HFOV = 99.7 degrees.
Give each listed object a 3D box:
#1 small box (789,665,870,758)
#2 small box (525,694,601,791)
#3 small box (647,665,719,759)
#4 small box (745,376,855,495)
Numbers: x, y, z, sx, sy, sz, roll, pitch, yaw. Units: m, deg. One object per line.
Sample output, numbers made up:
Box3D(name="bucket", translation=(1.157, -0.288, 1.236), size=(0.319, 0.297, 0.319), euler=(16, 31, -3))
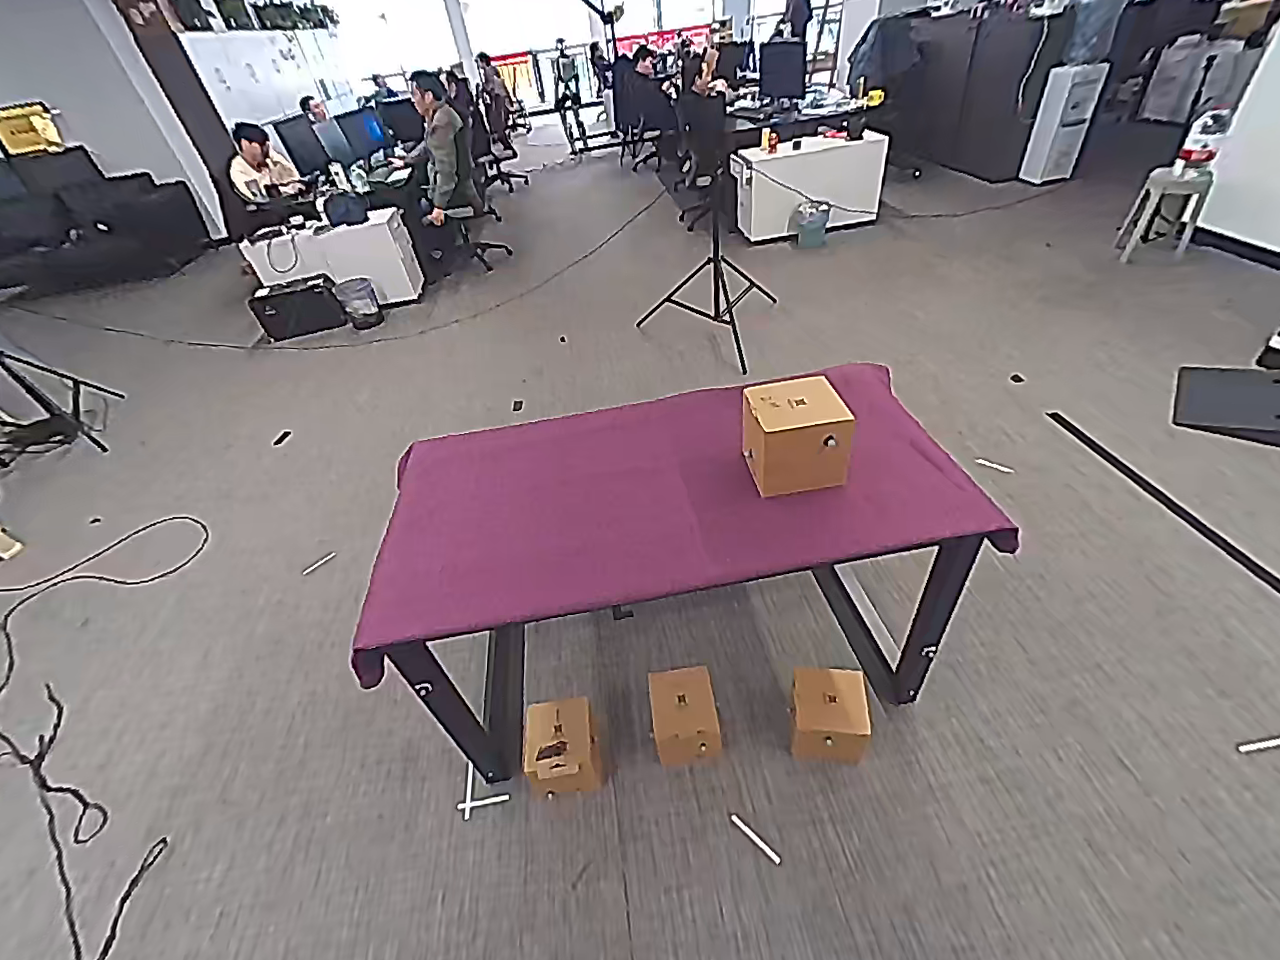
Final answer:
Box3D(name="small box", translation=(0.486, 0.607, 1.413), size=(0.179, 0.176, 0.168), euler=(0, 43, 12))
Box3D(name="small box", translation=(-0.199, 0.699, 1.428), size=(0.168, 0.176, 0.179), euler=(-9, 40, -1))
Box3D(name="small box", translation=(0.116, 0.629, 1.454), size=(0.168, 0.176, 0.179), euler=(-8, 40, -1))
Box3D(name="small box", translation=(0.320, -0.091, 1.122), size=(0.179, 0.176, 0.168), euler=(-9, 40, 0))
